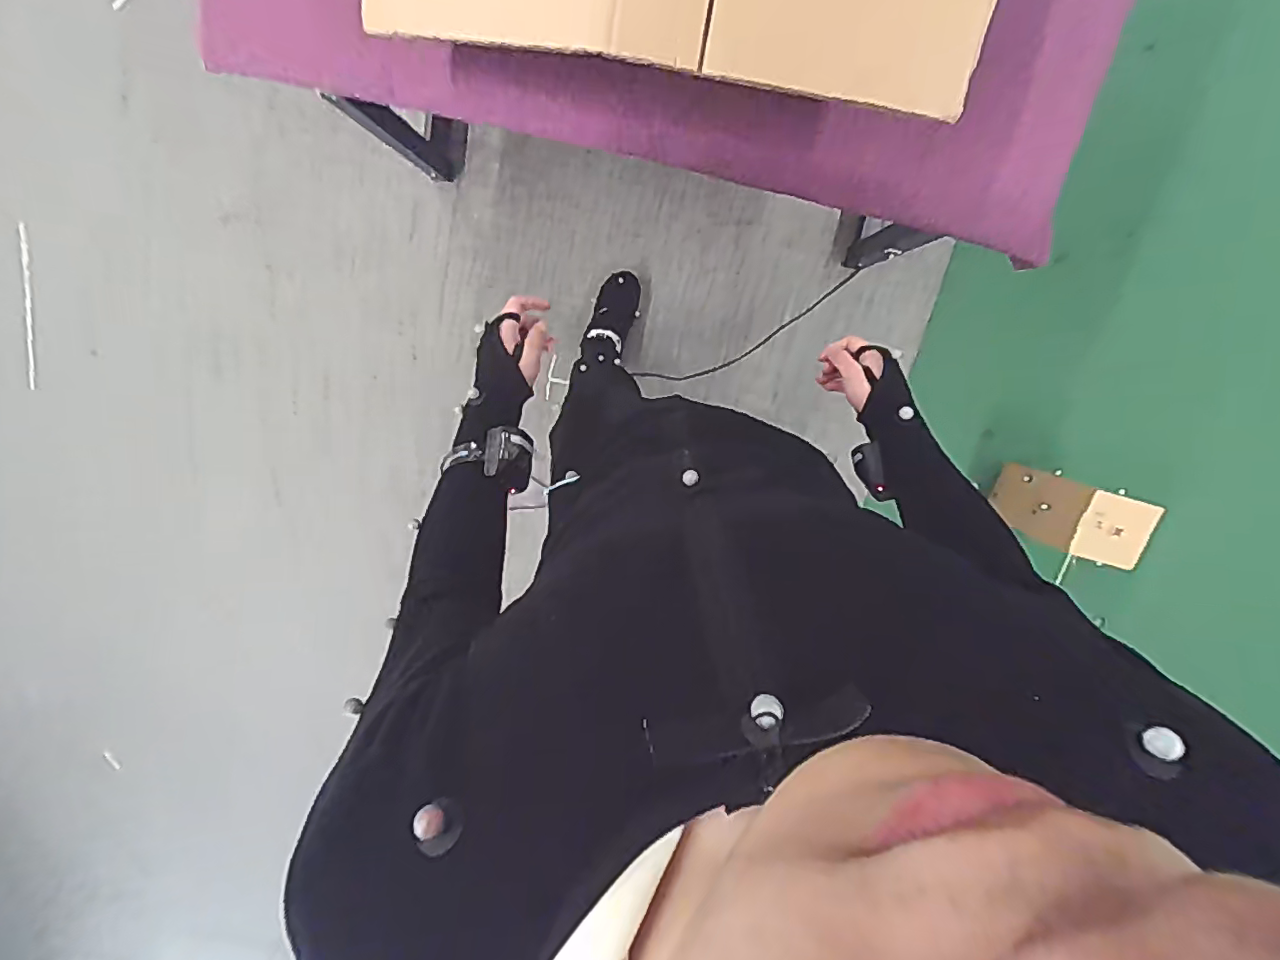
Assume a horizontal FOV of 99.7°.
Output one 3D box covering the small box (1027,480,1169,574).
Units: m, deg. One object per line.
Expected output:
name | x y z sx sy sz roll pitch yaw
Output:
small box | 1.130 0.110 1.349 0.179 0.176 0.168 16 103 -2
